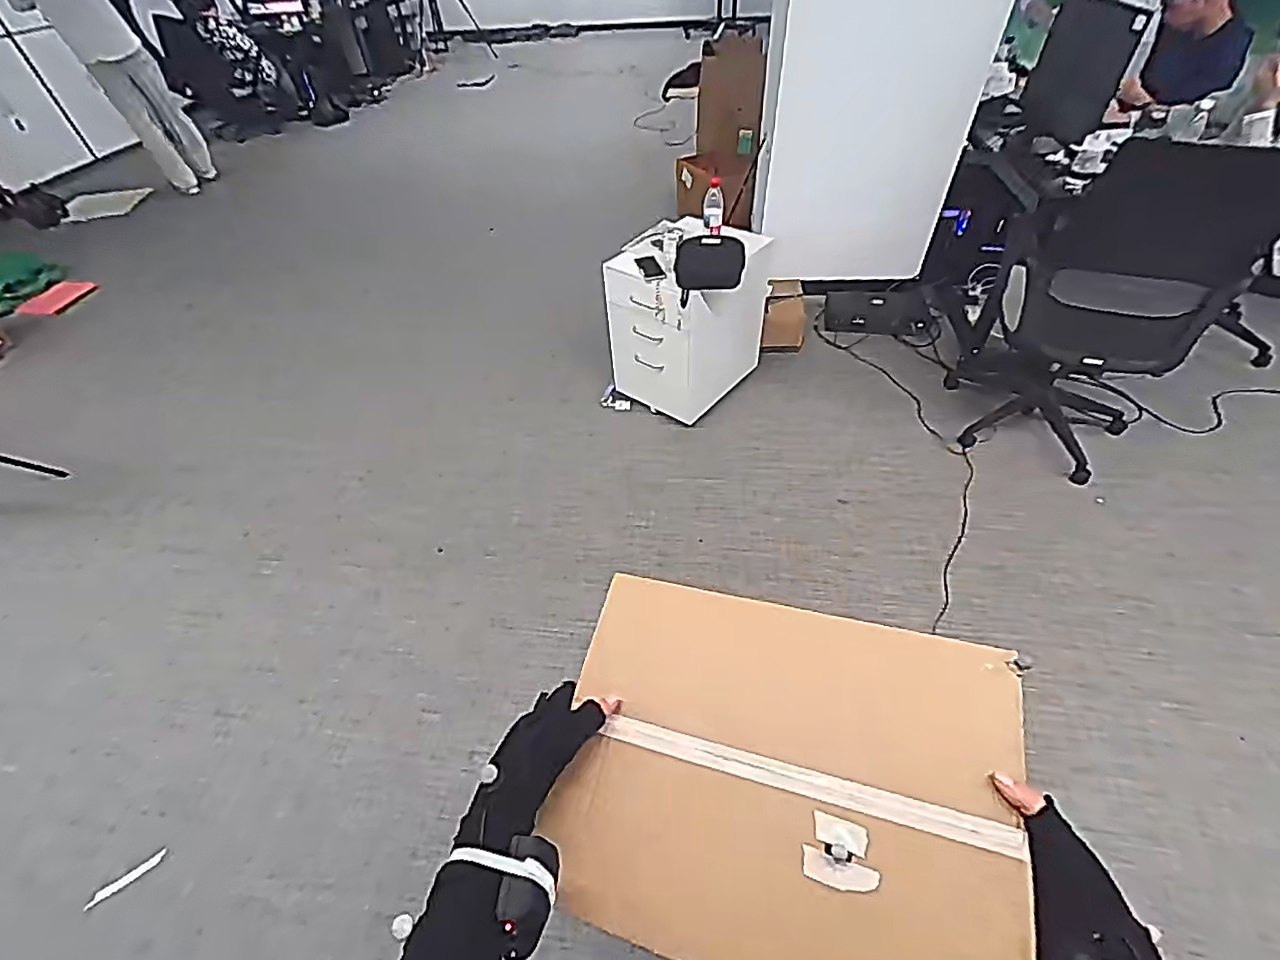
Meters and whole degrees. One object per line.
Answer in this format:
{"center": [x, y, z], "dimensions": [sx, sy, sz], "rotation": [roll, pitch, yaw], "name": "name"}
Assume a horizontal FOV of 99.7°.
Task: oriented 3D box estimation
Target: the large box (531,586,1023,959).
{"center": [0.152, 0.350, 0.627], "dimensions": [0.408, 0.320, 0.320], "rotation": [7, 62, 19], "name": "large box"}
